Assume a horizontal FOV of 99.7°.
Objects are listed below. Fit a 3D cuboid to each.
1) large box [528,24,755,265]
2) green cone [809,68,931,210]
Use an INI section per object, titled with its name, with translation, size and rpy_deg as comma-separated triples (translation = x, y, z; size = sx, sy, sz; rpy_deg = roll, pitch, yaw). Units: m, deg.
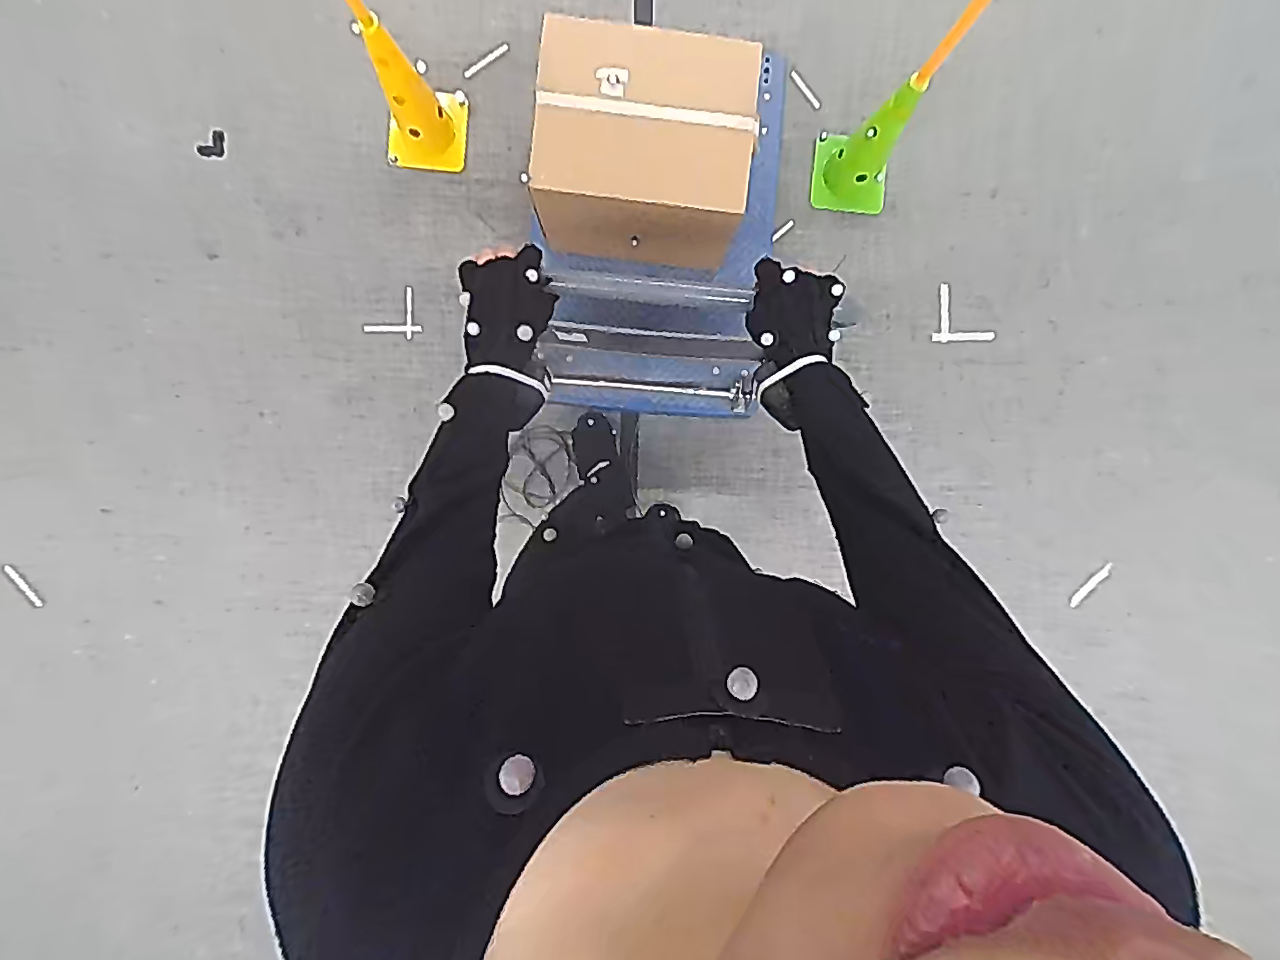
[large box]
translation = 0.002, -0.674, 1.147
size = 0.408, 0.320, 0.320
rpy_deg = 6, 92, -1
[green cone]
translation = 0.572, -0.838, 1.301
size = 0.202, 0.368, 0.200
rpy_deg = 5, 91, -3
